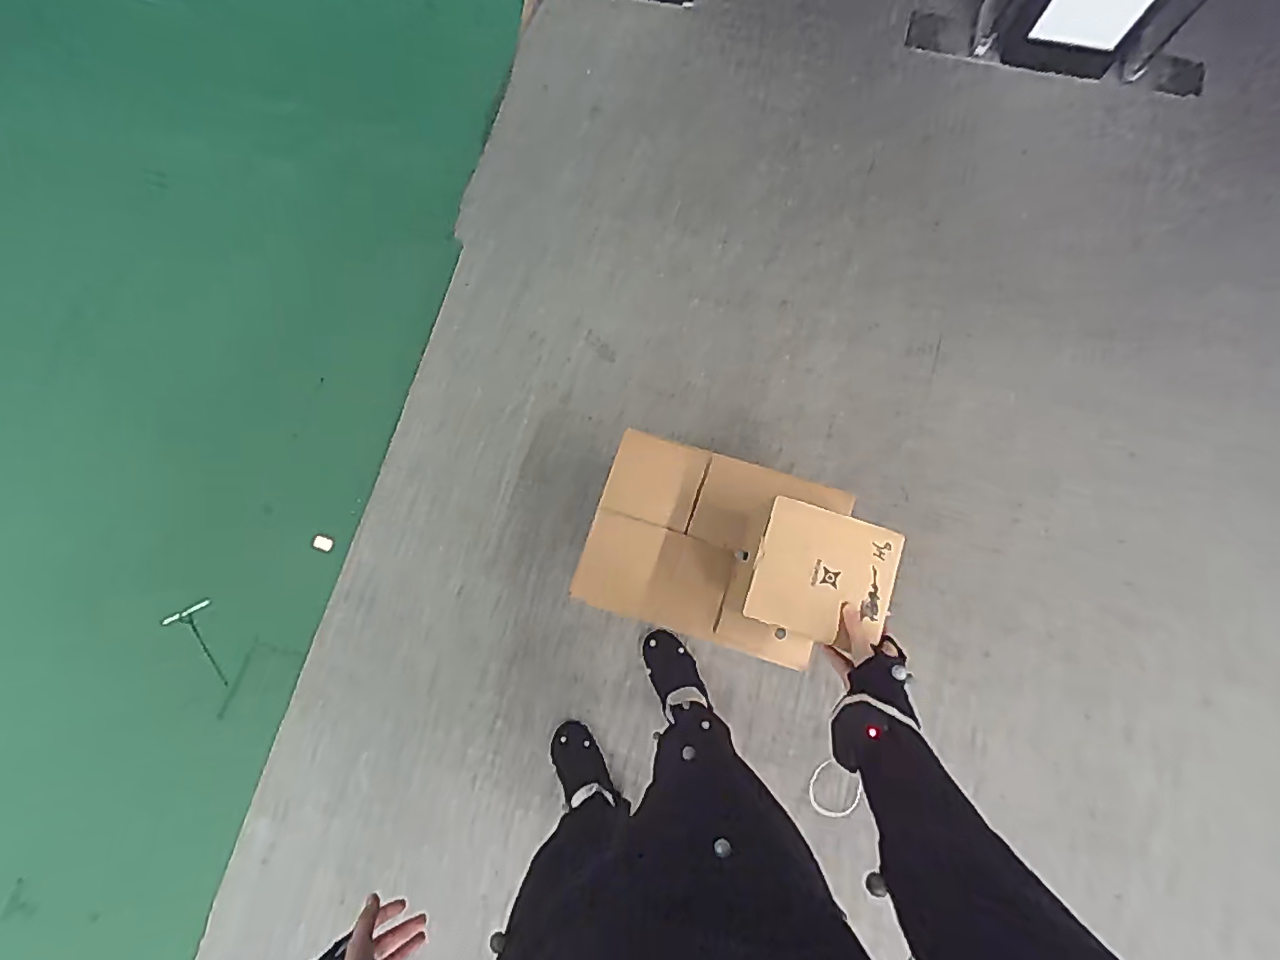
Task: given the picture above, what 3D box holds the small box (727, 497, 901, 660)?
[{"bbox_3d":[0.232,0.139,0.767,0.179,0.176,0.168,18,80,6],"label":"small box"}]
